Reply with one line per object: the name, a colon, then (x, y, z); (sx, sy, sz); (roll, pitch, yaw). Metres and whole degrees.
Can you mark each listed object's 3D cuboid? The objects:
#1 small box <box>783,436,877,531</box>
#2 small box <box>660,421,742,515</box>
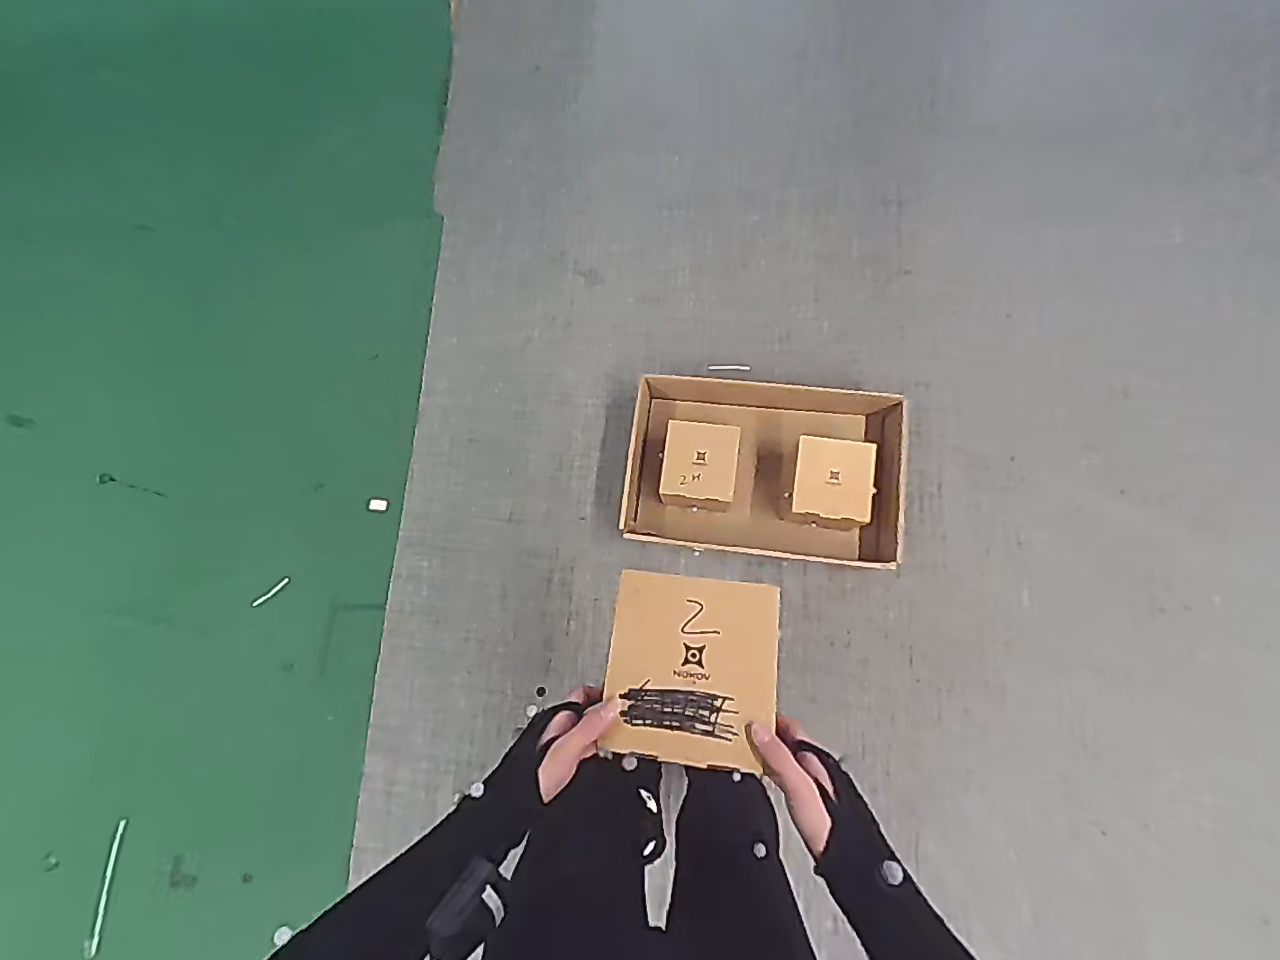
small box: (0.430, 0.014, 1.244); (0.168, 0.176, 0.179); (8, 80, 8)
small box: (0.144, -0.024, 1.284); (0.168, 0.176, 0.179); (7, 79, 8)
